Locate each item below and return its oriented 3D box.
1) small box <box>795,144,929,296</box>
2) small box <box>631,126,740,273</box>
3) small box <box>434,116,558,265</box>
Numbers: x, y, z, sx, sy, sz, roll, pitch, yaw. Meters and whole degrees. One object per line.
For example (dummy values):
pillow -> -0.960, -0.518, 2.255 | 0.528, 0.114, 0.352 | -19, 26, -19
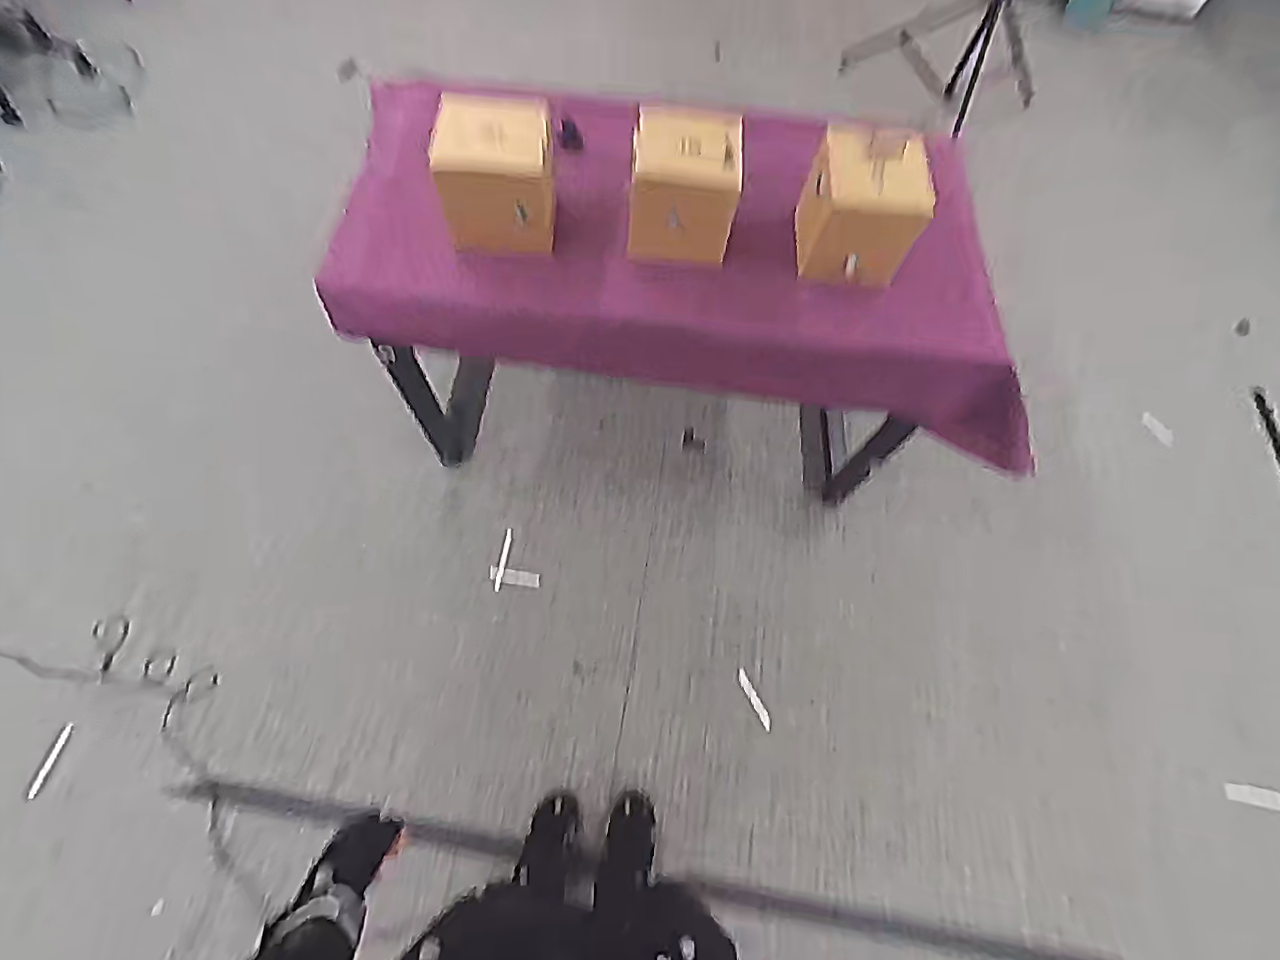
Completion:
small box -> 0.386, -0.463, 0.974 | 0.168, 0.176, 0.179 | 5, 65, -1
small box -> 0.077, -0.495, 0.970 | 0.179, 0.176, 0.168 | 5, 64, -1
small box -> -0.240, -0.502, 0.952 | 0.179, 0.176, 0.168 | 1, 63, -3
